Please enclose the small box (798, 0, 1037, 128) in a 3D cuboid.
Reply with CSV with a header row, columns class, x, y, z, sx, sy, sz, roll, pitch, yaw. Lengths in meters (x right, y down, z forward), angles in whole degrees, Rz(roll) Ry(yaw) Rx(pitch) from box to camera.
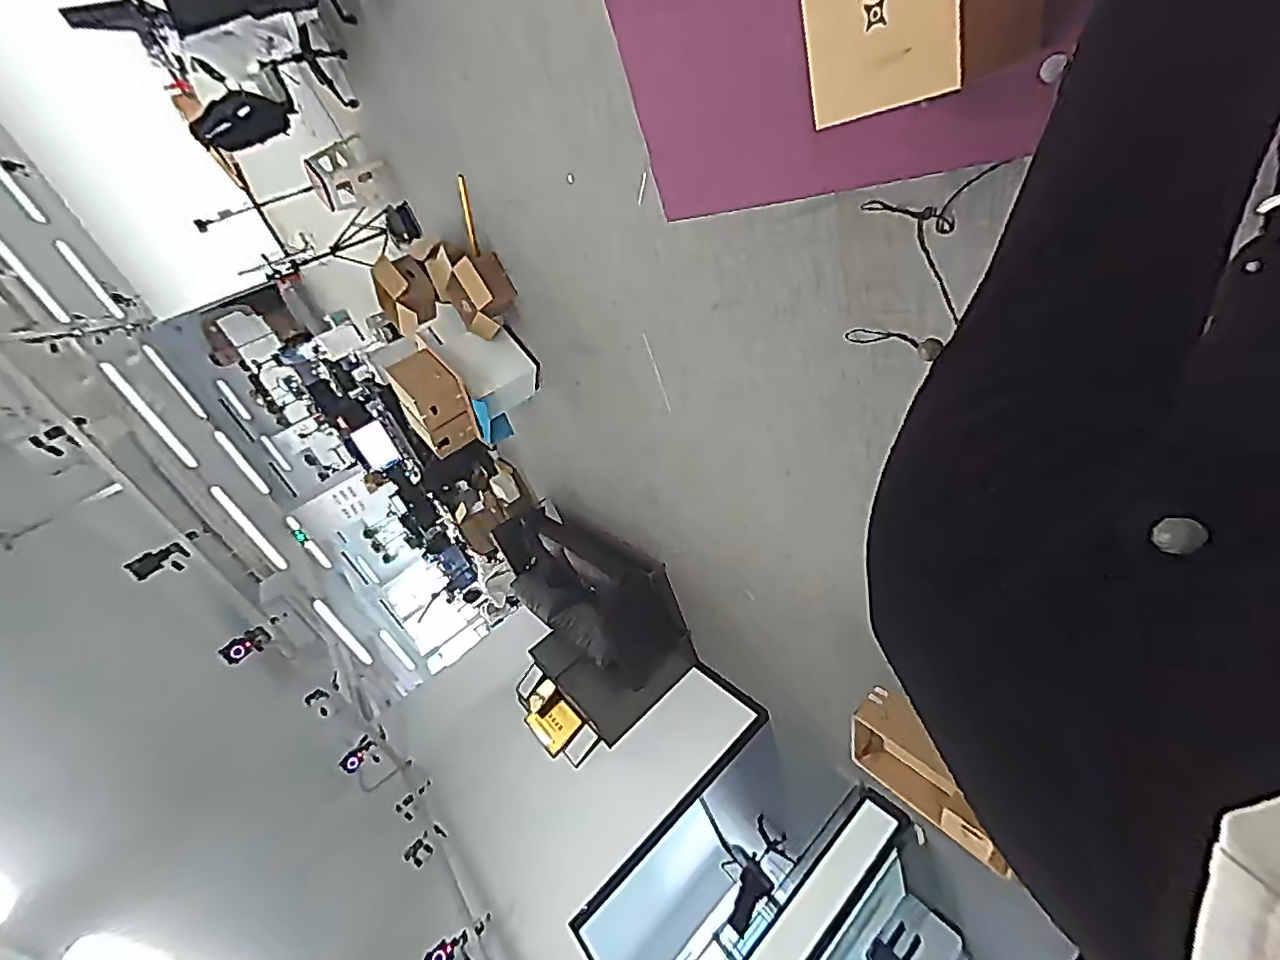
class,x,y,z,sx,sy,sz,roll,pitch,yaw
small box,0.284,-0.496,0.555,0.168,0.176,0.179,24,141,49
